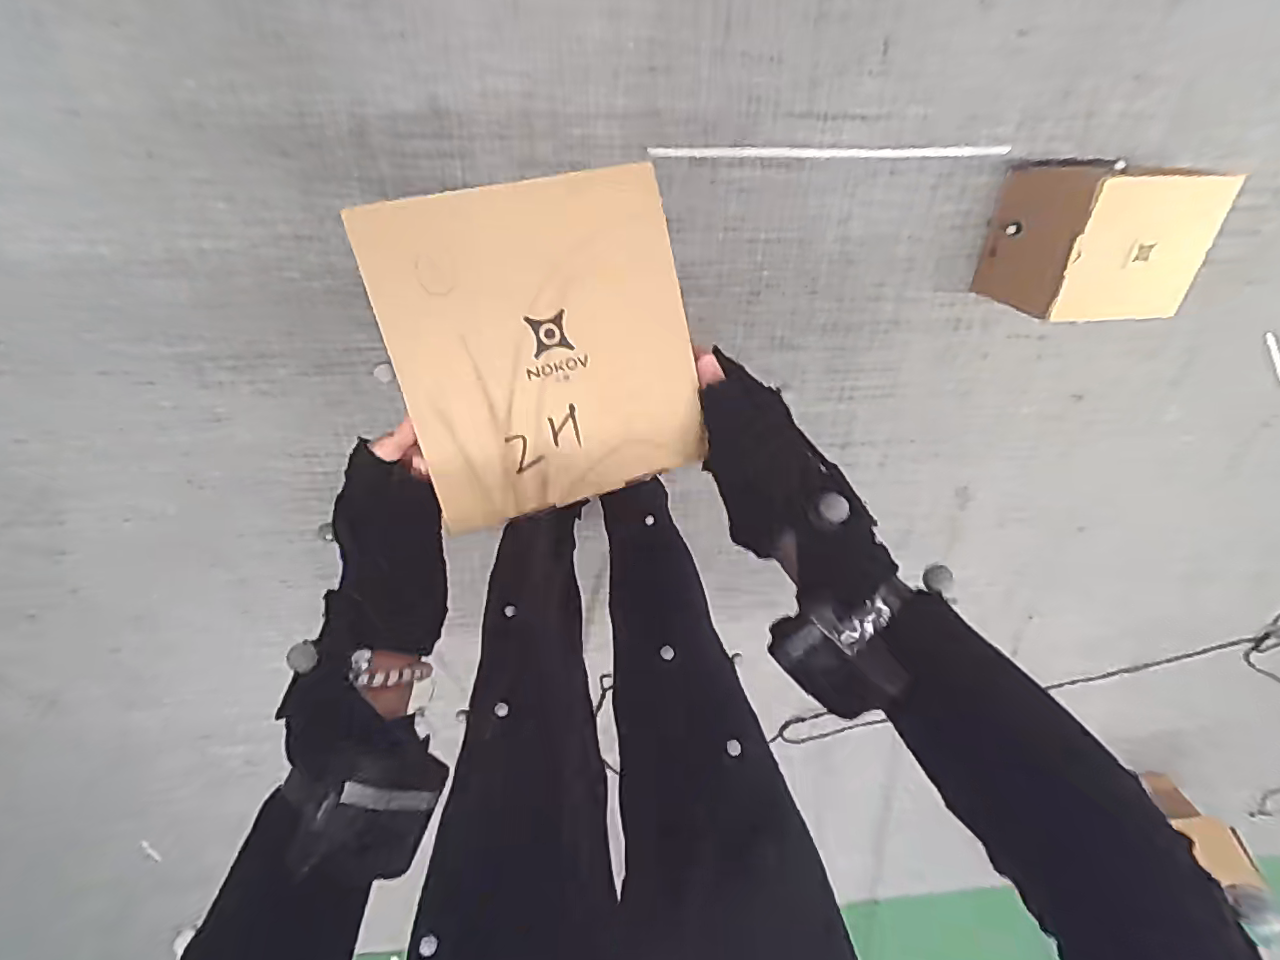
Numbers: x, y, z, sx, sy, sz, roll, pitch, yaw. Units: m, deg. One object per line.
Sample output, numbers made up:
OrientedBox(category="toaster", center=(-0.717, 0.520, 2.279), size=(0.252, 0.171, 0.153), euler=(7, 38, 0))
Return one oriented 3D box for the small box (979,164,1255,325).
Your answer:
OrientedBox(category="small box", center=(0.597, -0.313, 0.709), size=(0.179, 0.176, 0.168), euler=(-3, 124, -3))
